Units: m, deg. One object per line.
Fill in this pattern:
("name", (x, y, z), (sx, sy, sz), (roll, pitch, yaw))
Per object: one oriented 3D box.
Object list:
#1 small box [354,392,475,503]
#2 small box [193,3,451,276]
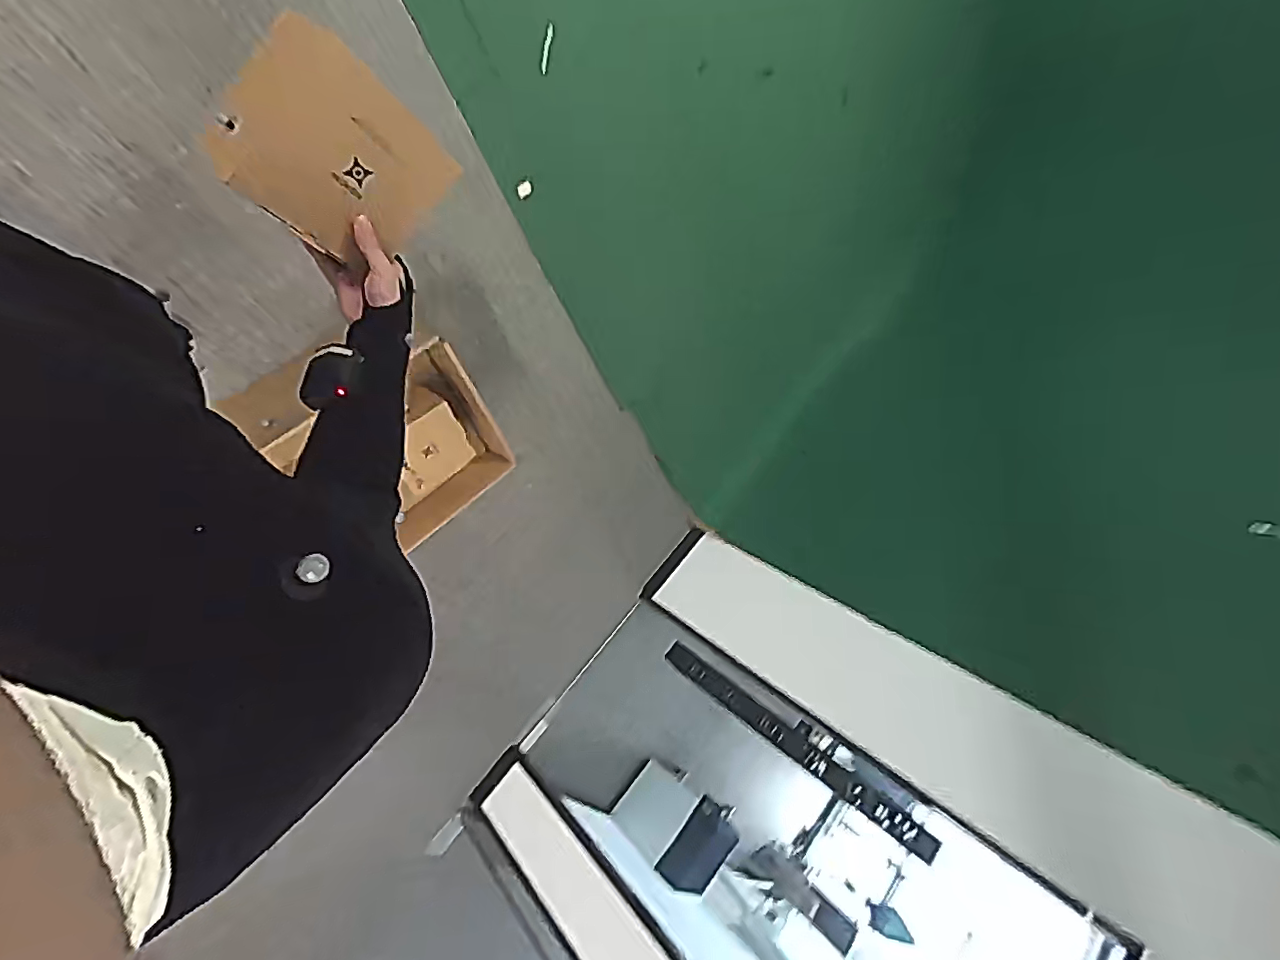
("small box", (-0.530, -0.084, 1.271), (0.179, 0.176, 0.168), (-40, 135, -25))
("small box", (-0.355, -0.373, 0.601), (0.179, 0.176, 0.168), (-49, 149, 5))
